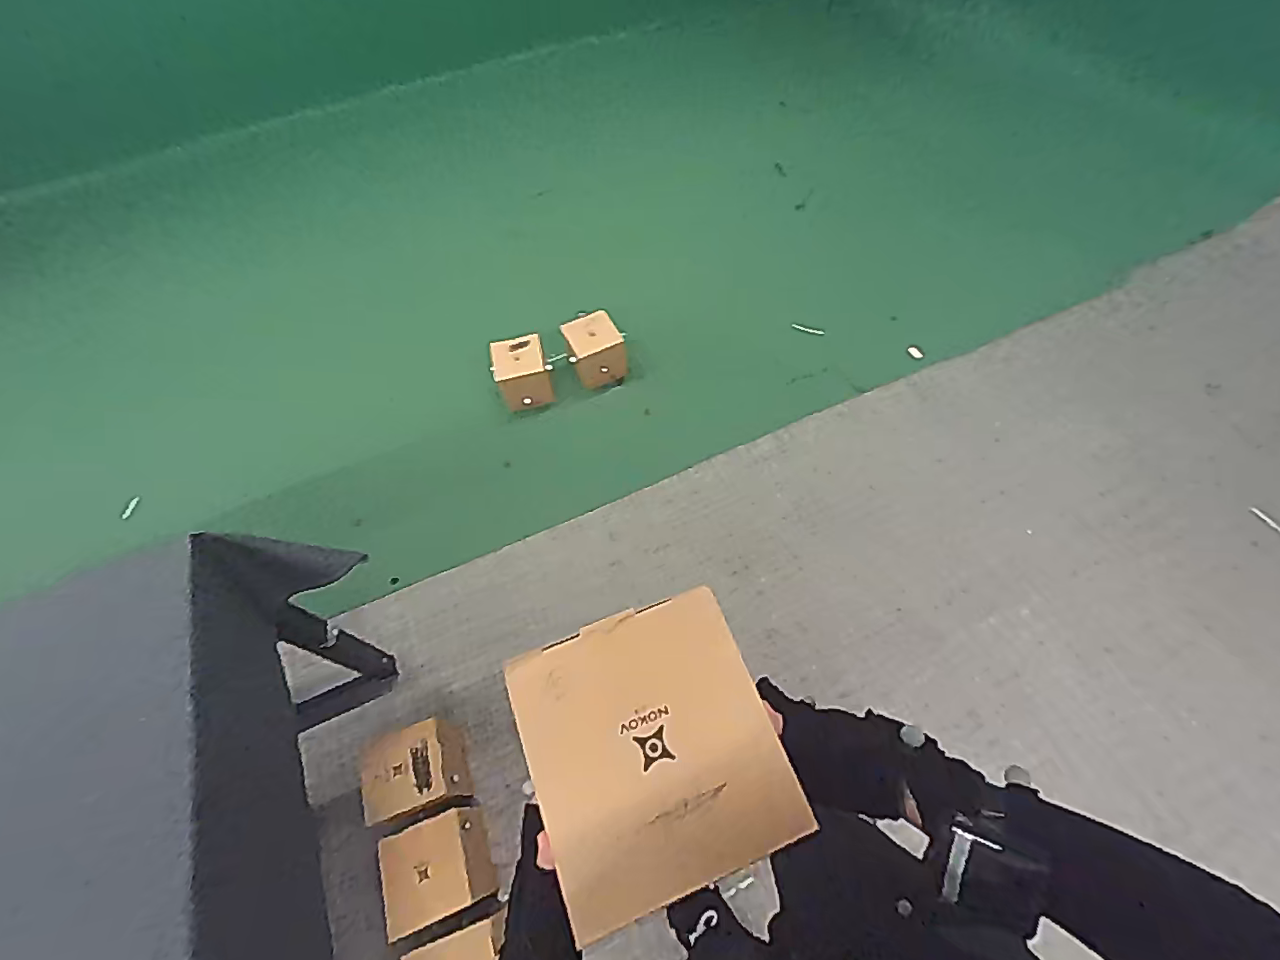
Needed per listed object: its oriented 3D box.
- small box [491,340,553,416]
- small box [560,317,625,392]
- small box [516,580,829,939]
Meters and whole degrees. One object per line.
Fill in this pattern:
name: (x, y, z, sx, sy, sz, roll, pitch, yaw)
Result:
small box: (-0.404, -0.349, 1.860, 0.168, 0.176, 0.179, -13, 59, -4)
small box: (-0.161, -0.431, 1.893, 0.168, 0.176, 0.179, -23, 59, -11)
small box: (0.012, 0.206, 0.430, 0.168, 0.176, 0.179, -17, 66, -10)
